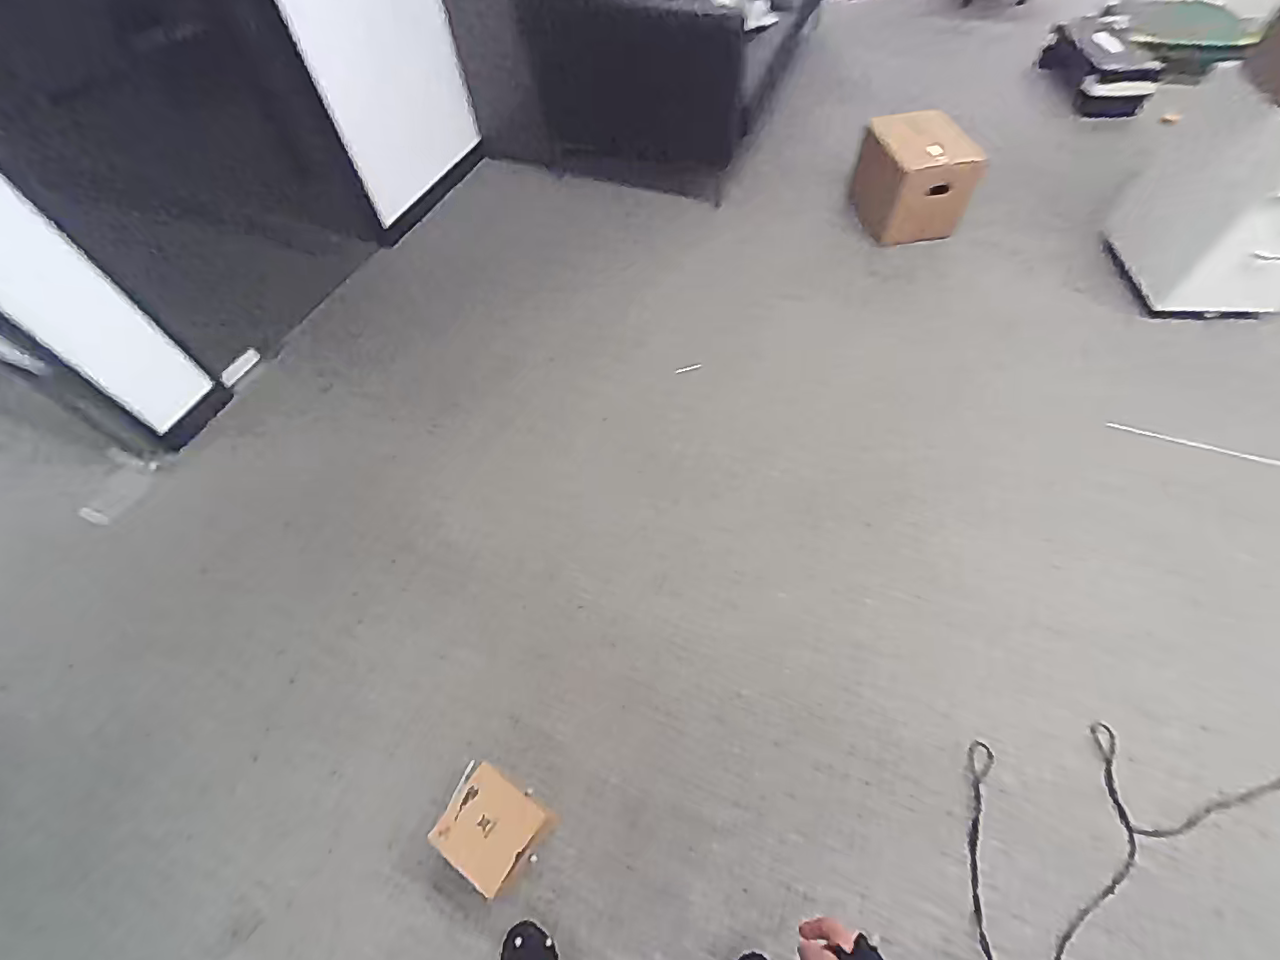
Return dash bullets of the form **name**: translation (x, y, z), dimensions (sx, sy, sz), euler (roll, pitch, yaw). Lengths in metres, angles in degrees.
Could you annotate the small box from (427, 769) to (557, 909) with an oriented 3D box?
- **small box**: translation (-0.294, 0.730, 1.116), dimensions (0.179, 0.176, 0.168), euler (29, 63, 19)
